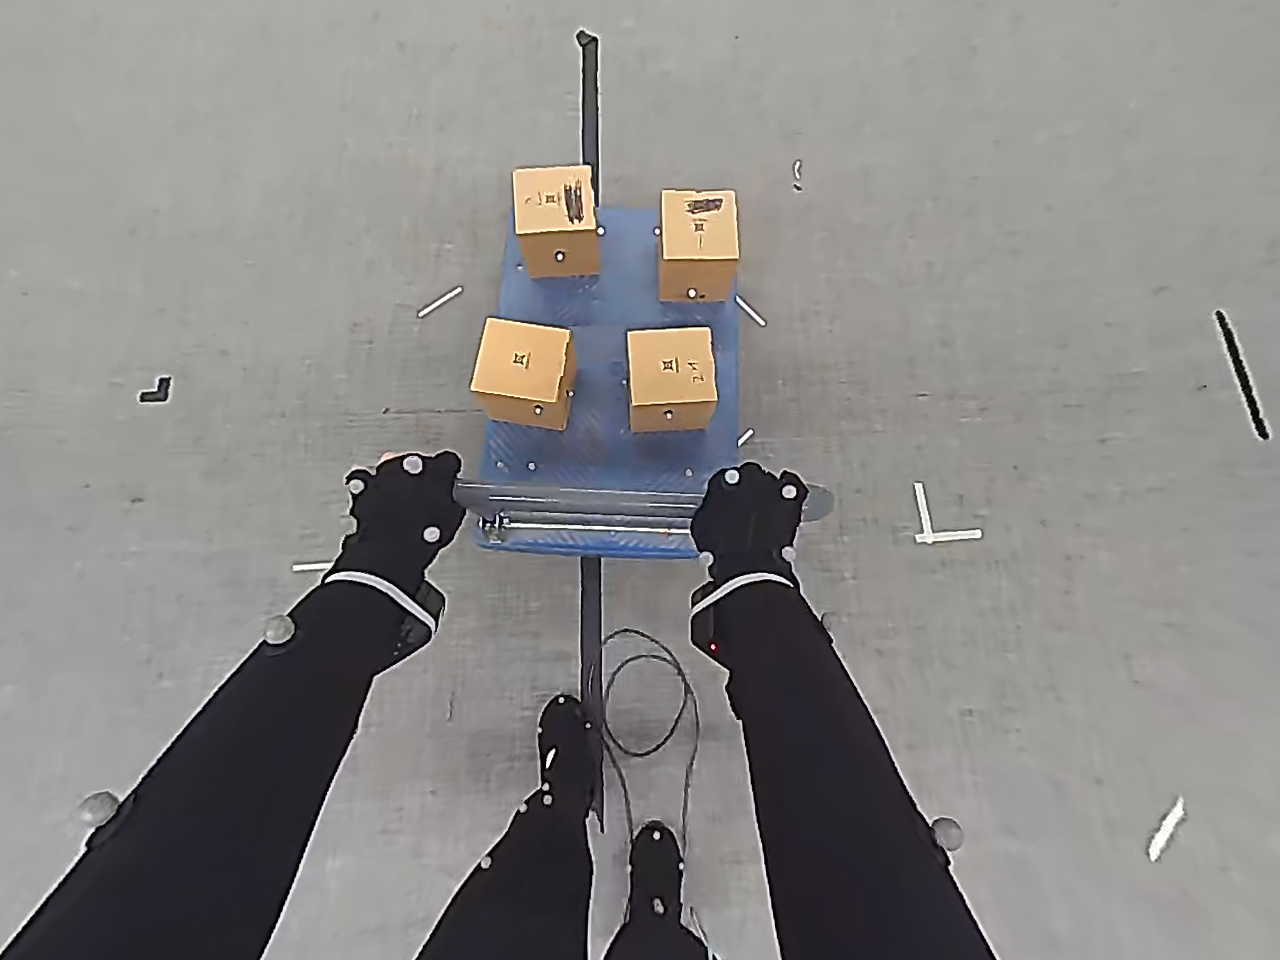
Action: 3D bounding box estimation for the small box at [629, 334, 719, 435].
[{"bbox_3d":[0.068,-0.201,1.179,0.179,0.176,0.168,-3,77,-2],"label":"small box"}]

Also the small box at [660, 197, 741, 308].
[{"bbox_3d":[0.135,-0.525,1.258,0.168,0.176,0.179,0,78,-2],"label":"small box"}]

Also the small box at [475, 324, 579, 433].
[{"bbox_3d":[-0.236,-0.213,1.174,0.179,0.176,0.168,9,76,-1],"label":"small box"}]
